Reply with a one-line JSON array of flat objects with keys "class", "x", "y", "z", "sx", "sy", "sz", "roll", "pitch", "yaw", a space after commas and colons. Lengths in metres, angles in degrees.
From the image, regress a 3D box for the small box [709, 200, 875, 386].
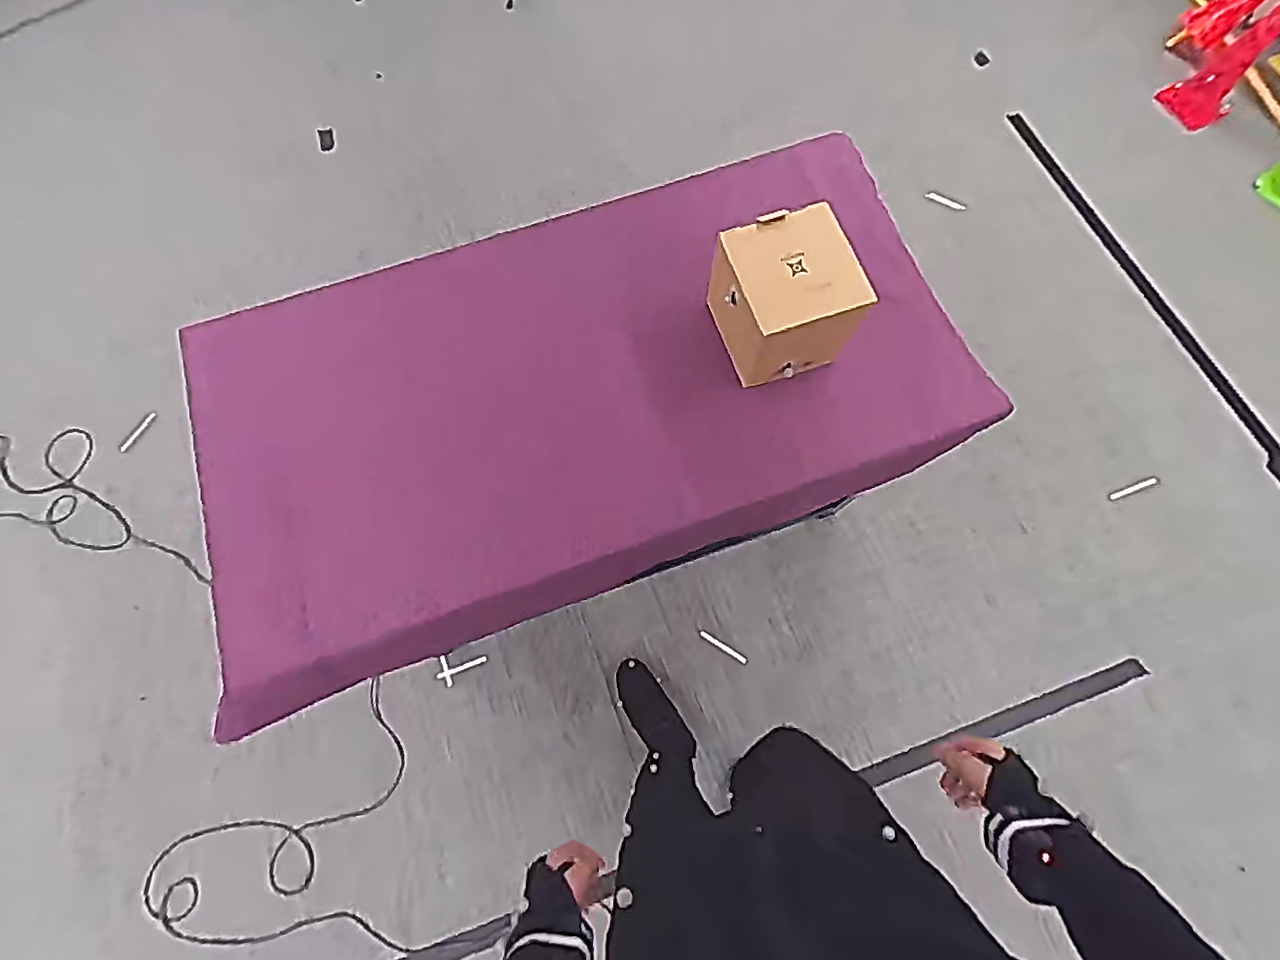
[{"class": "small box", "x": 0.209, "y": -0.269, "z": 0.805, "sx": 0.168, "sy": 0.176, "sz": 0.179, "roll": -17, "pitch": 74, "yaw": -3}]
